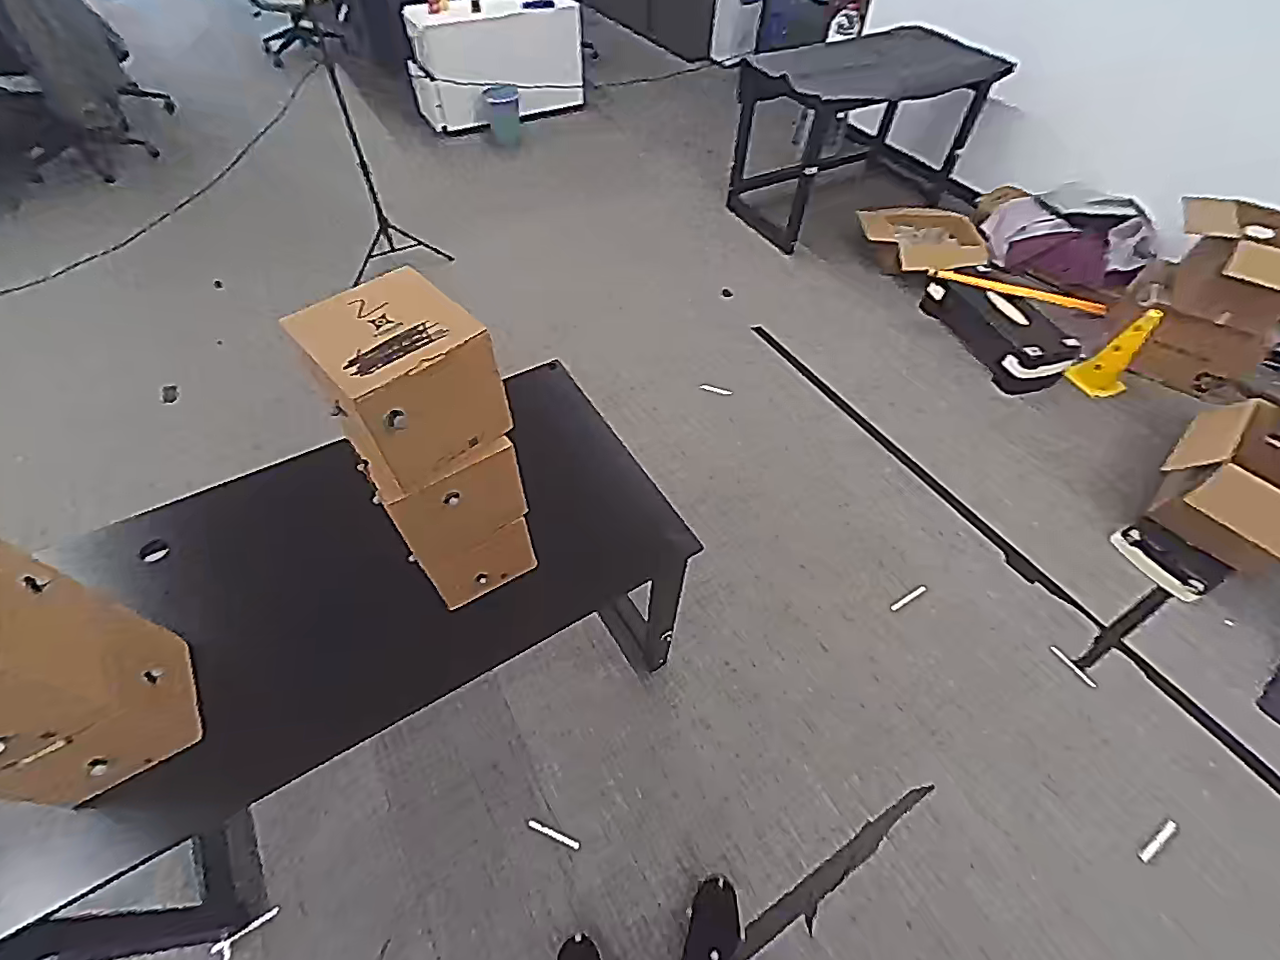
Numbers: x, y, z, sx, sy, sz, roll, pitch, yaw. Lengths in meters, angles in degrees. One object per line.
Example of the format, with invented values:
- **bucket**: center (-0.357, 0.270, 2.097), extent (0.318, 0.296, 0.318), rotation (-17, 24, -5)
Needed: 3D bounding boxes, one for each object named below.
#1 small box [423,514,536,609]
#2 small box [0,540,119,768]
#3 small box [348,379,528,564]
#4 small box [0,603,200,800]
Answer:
- **small box**: center (-0.292, 0.086, 0.921), extent (0.168, 0.176, 0.179), rotation (-26, 59, -20)
- **small box**: center (-0.740, 0.206, 0.605), extent (0.168, 0.176, 0.179), rotation (-26, 59, -20)
- **small box**: center (-0.283, -0.008, 0.787), extent (0.179, 0.176, 0.168), rotation (-29, 60, -23)
- **small box**: center (-0.745, 0.306, 0.735), extent (0.168, 0.176, 0.179), rotation (-27, 59, -21)
